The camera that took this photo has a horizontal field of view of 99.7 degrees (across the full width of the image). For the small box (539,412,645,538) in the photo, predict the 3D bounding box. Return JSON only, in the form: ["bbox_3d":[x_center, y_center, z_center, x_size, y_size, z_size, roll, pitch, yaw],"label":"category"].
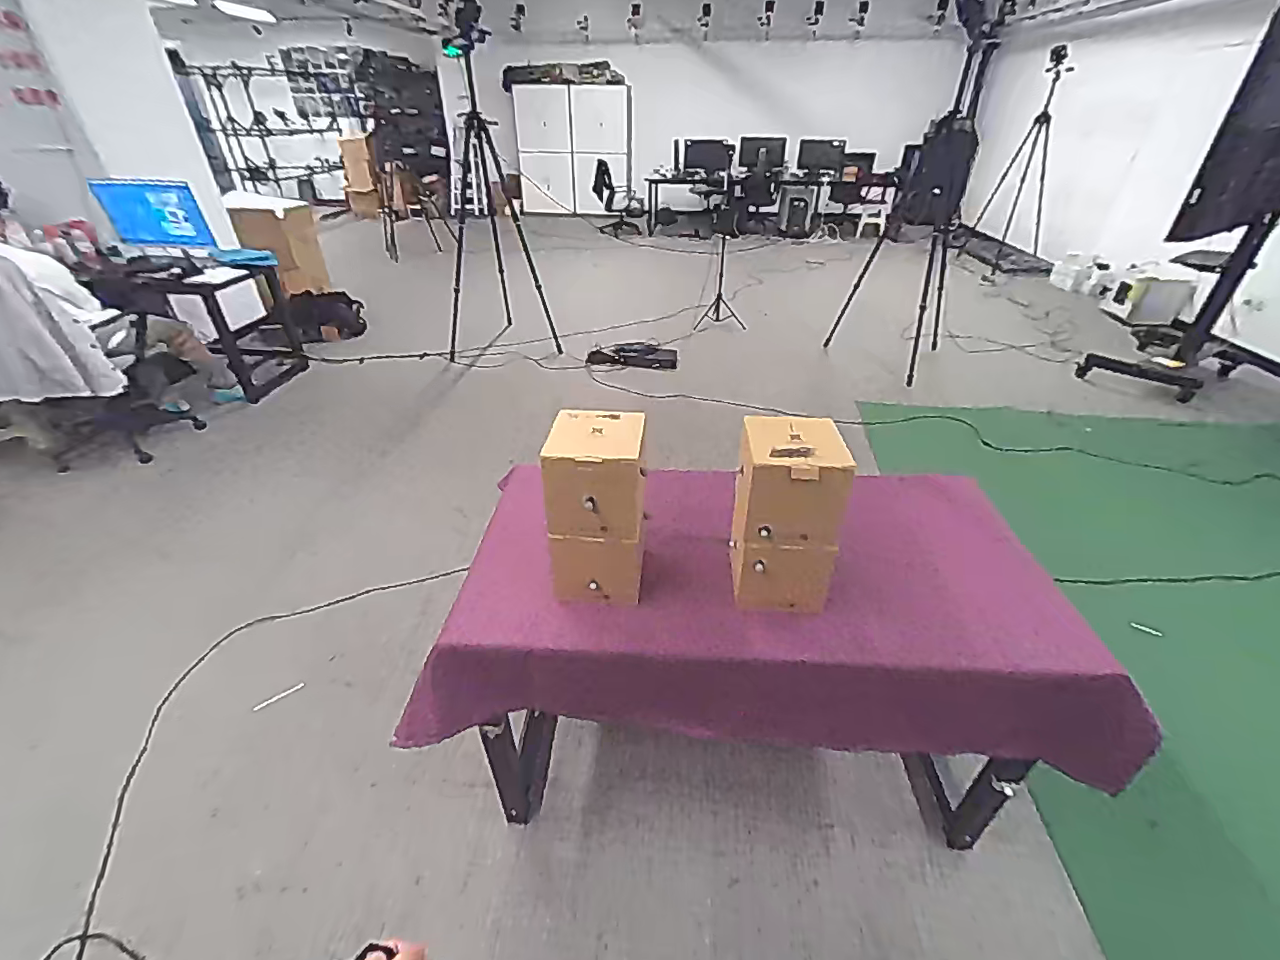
[{"bbox_3d":[-0.079,-0.009,0.997,0.168,0.176,0.179,3,34,4],"label":"small box"}]

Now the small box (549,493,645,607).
[{"bbox_3d":[-0.079,0.130,1.085,0.168,0.176,0.179,2,34,4],"label":"small box"}]

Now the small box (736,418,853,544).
[{"bbox_3d":[0.268,0.001,0.981,0.168,0.176,0.179,2,32,3],"label":"small box"}]
